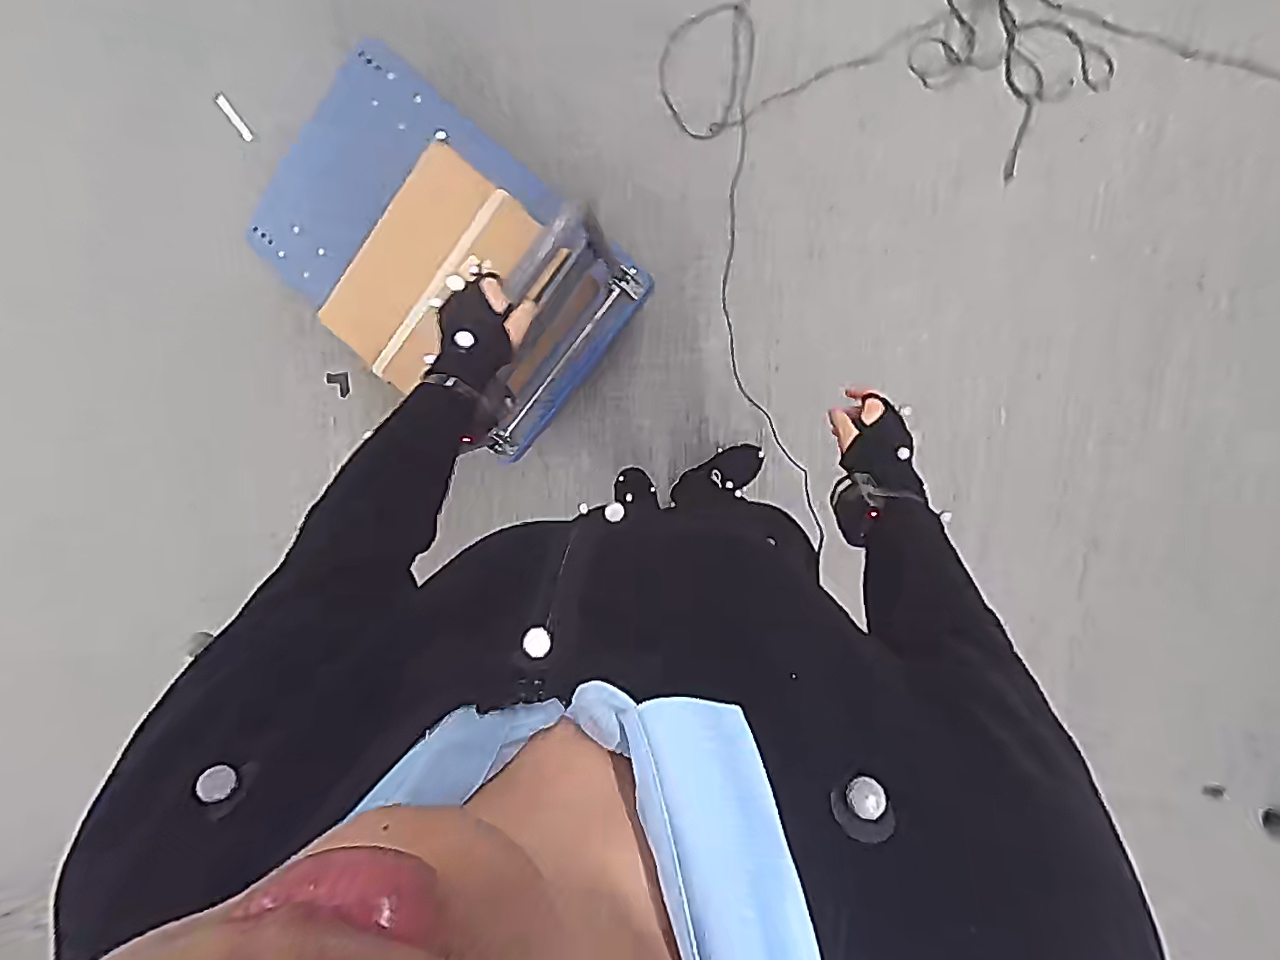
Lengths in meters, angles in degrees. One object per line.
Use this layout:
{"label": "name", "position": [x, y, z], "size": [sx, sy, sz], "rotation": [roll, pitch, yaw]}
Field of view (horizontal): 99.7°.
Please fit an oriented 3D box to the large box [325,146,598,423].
{"label": "large box", "position": [-0.349, -0.370, 1.144], "size": [0.320, 0.320, 0.408], "rotation": [41, 100, -2]}
